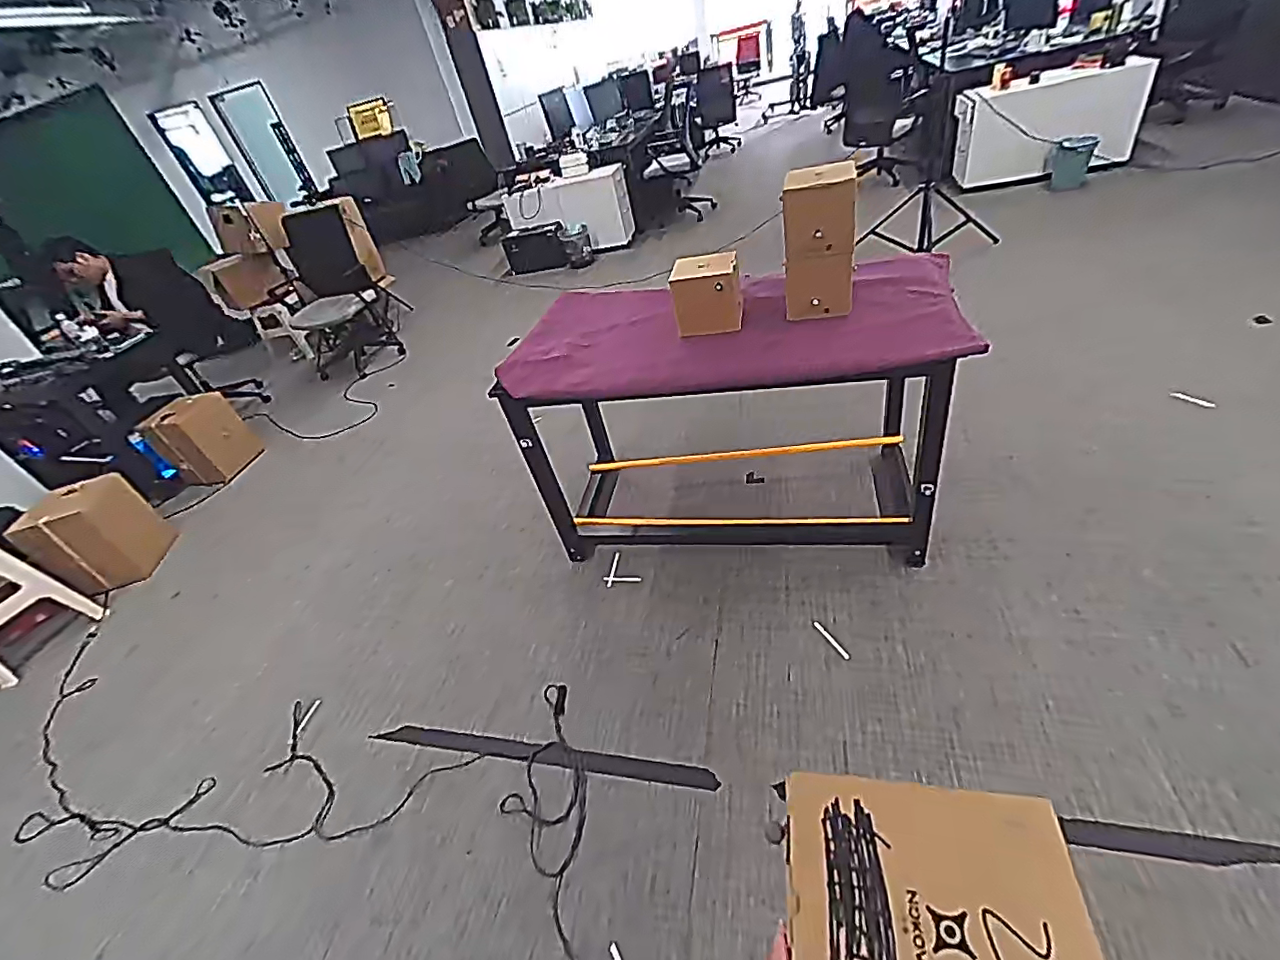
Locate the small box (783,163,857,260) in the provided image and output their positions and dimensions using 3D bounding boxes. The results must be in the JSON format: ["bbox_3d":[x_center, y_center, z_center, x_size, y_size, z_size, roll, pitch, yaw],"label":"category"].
[{"bbox_3d":[0.454,-0.674,1.361,0.168,0.176,0.179,0,41,20],"label":"small box"}]

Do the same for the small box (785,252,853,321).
[{"bbox_3d":[0.486,-0.549,1.465,0.168,0.176,0.179,1,42,20],"label":"small box"}]

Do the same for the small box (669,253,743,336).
[{"bbox_3d":[0.193,-0.522,1.535,0.179,0.176,0.168,-1,40,16],"label":"small box"}]
